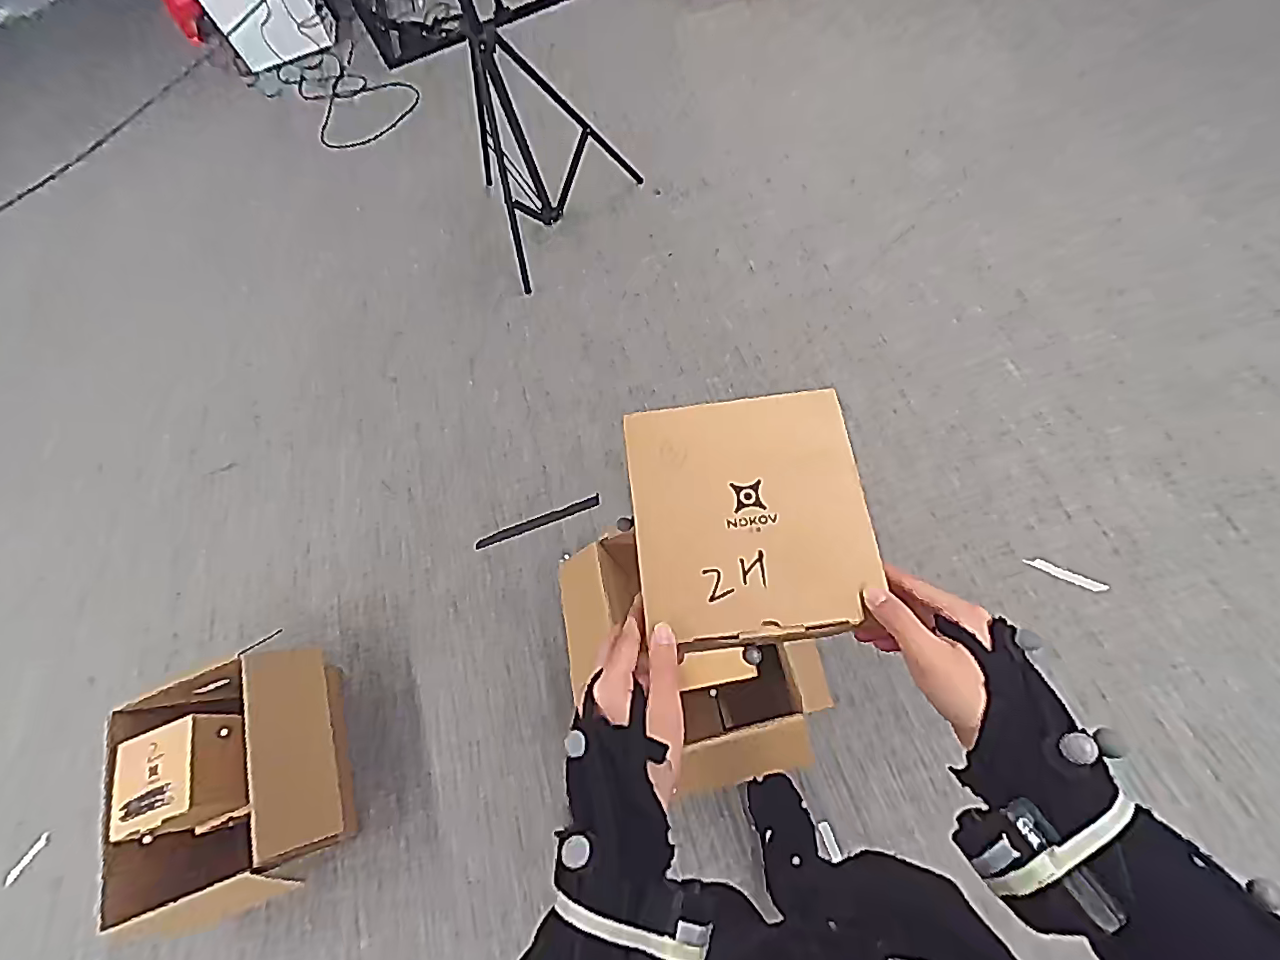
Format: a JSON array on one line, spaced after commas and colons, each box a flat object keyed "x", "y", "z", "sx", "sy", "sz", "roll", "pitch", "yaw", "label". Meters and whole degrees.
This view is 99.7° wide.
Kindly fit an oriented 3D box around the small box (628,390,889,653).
[{"x": 0.082, "y": 0.047, "z": 0.467, "sx": 0.168, "sy": 0.176, "sz": 0.179, "roll": -8, "pitch": 70, "yaw": 1, "label": "small box"}]
